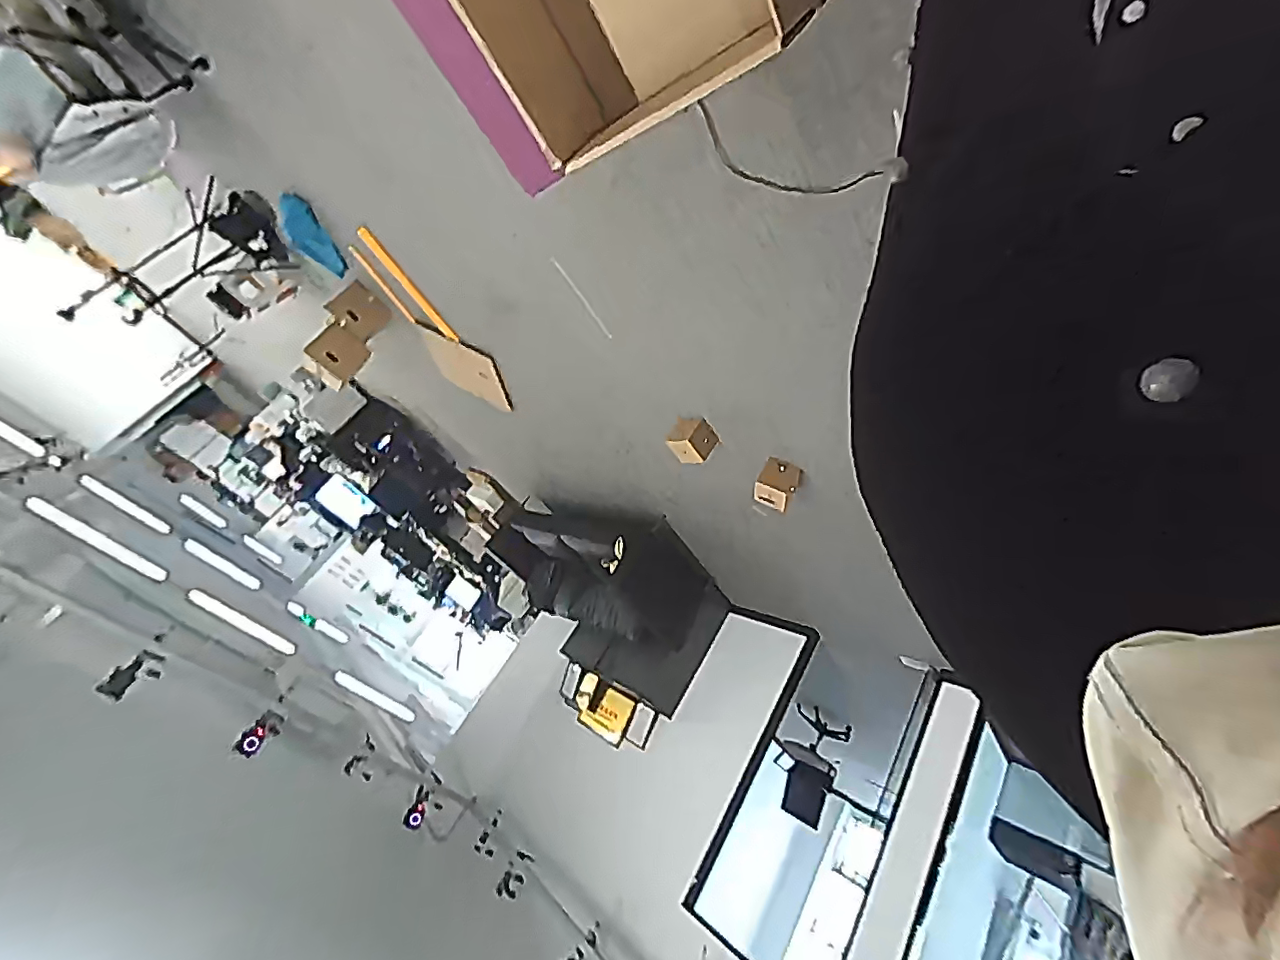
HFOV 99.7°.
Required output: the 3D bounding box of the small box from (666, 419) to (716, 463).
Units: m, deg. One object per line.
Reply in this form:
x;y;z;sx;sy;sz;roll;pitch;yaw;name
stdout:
0.276;-0.206;2.844;0.179;0.176;0.168;2;139;52;small box
